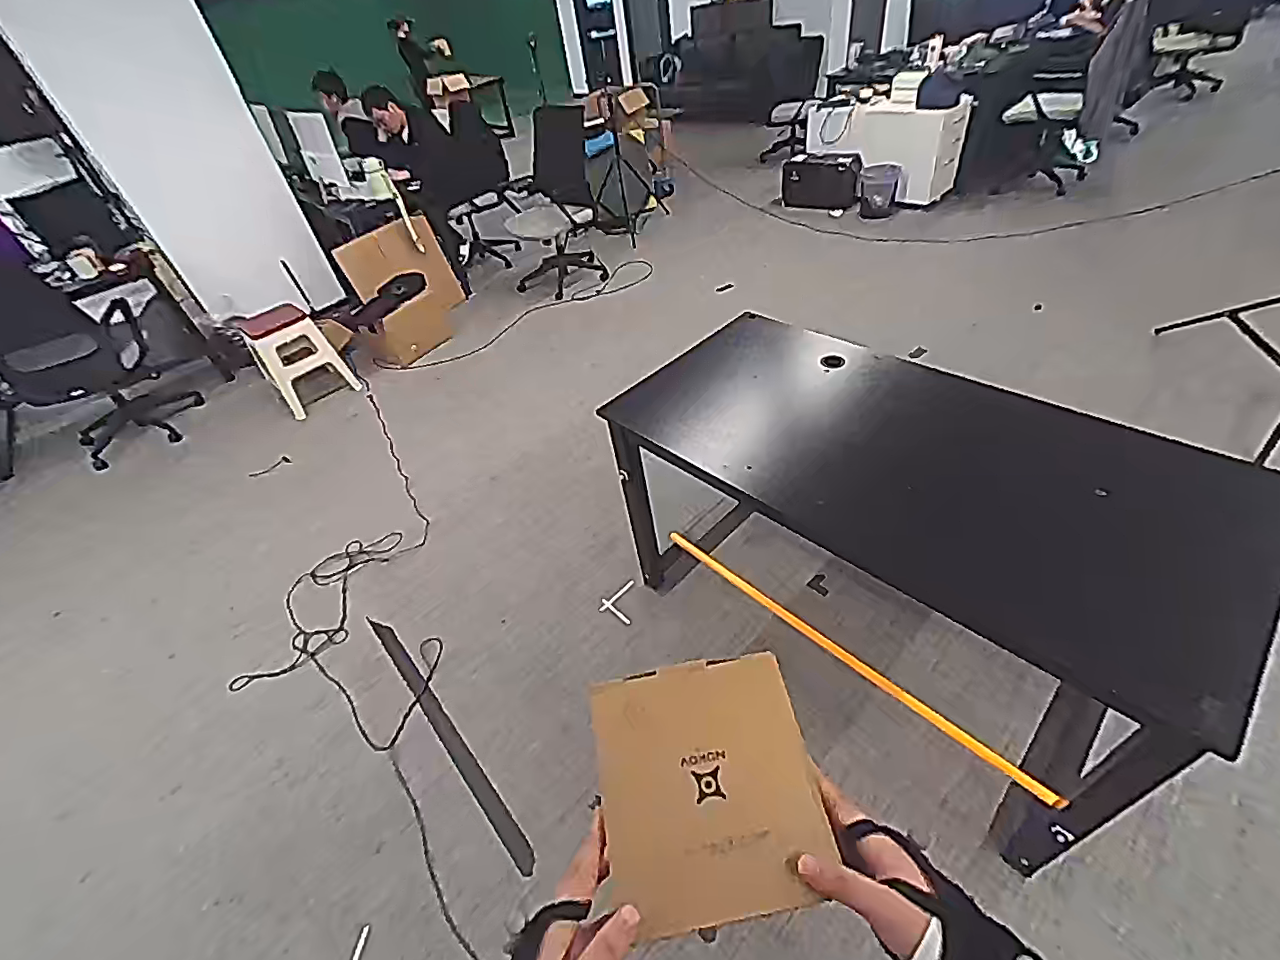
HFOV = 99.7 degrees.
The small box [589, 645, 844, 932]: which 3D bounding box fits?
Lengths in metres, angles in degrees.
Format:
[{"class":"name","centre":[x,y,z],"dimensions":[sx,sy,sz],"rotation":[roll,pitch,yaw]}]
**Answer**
[{"class":"small box","centre":[0.048,0.269,0.478],"dimensions":[0.168,0.176,0.179],"rotation":[-8,55,-5]}]
